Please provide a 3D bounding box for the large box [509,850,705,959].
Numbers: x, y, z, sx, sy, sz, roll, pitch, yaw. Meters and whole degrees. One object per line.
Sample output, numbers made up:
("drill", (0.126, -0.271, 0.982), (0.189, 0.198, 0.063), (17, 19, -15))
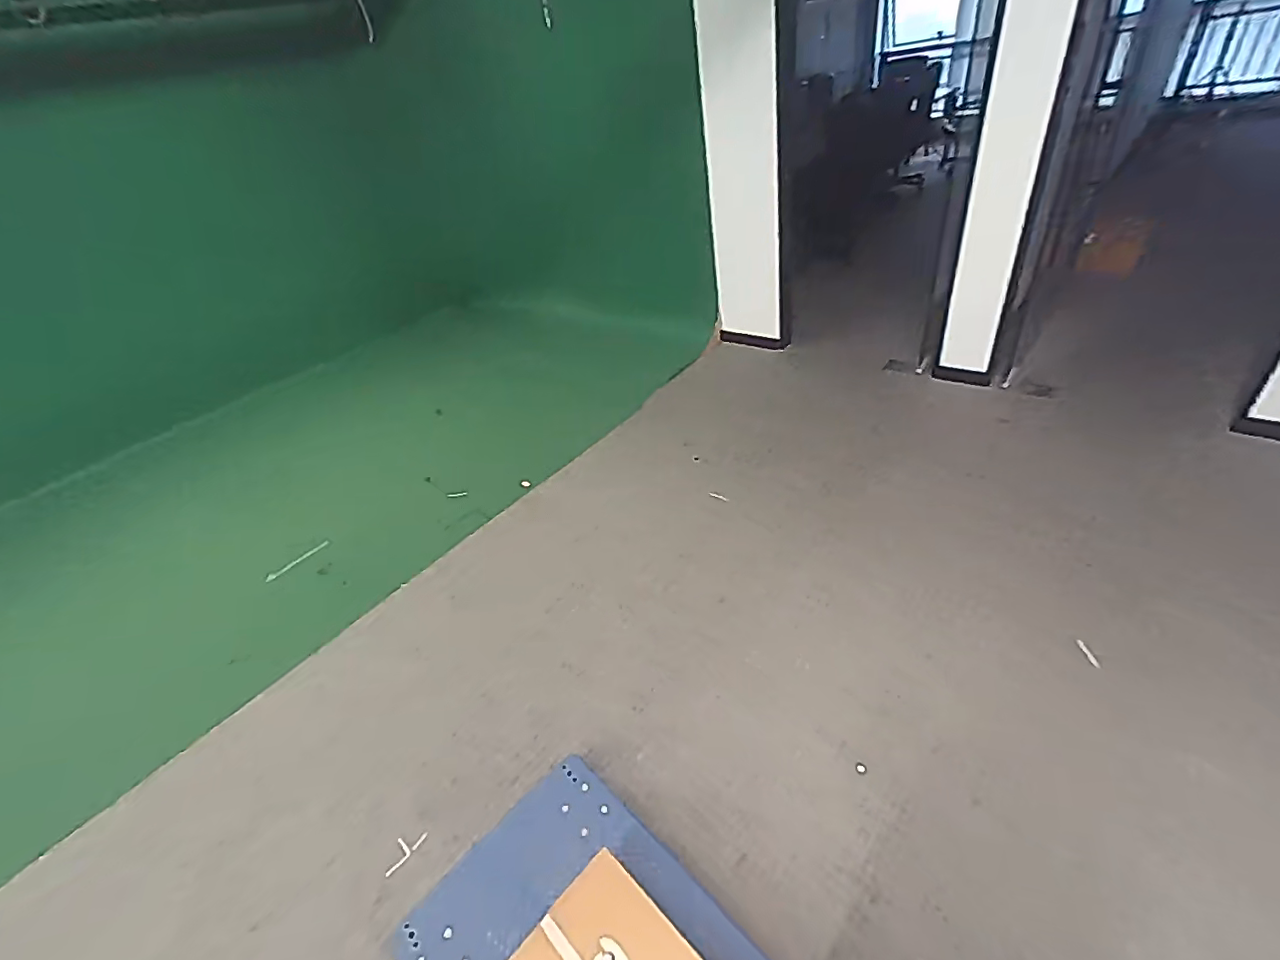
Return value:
("large box", (-0.011, 0.996, 0.971), (0.320, 0.320, 0.408), (-37, 43, -29))
